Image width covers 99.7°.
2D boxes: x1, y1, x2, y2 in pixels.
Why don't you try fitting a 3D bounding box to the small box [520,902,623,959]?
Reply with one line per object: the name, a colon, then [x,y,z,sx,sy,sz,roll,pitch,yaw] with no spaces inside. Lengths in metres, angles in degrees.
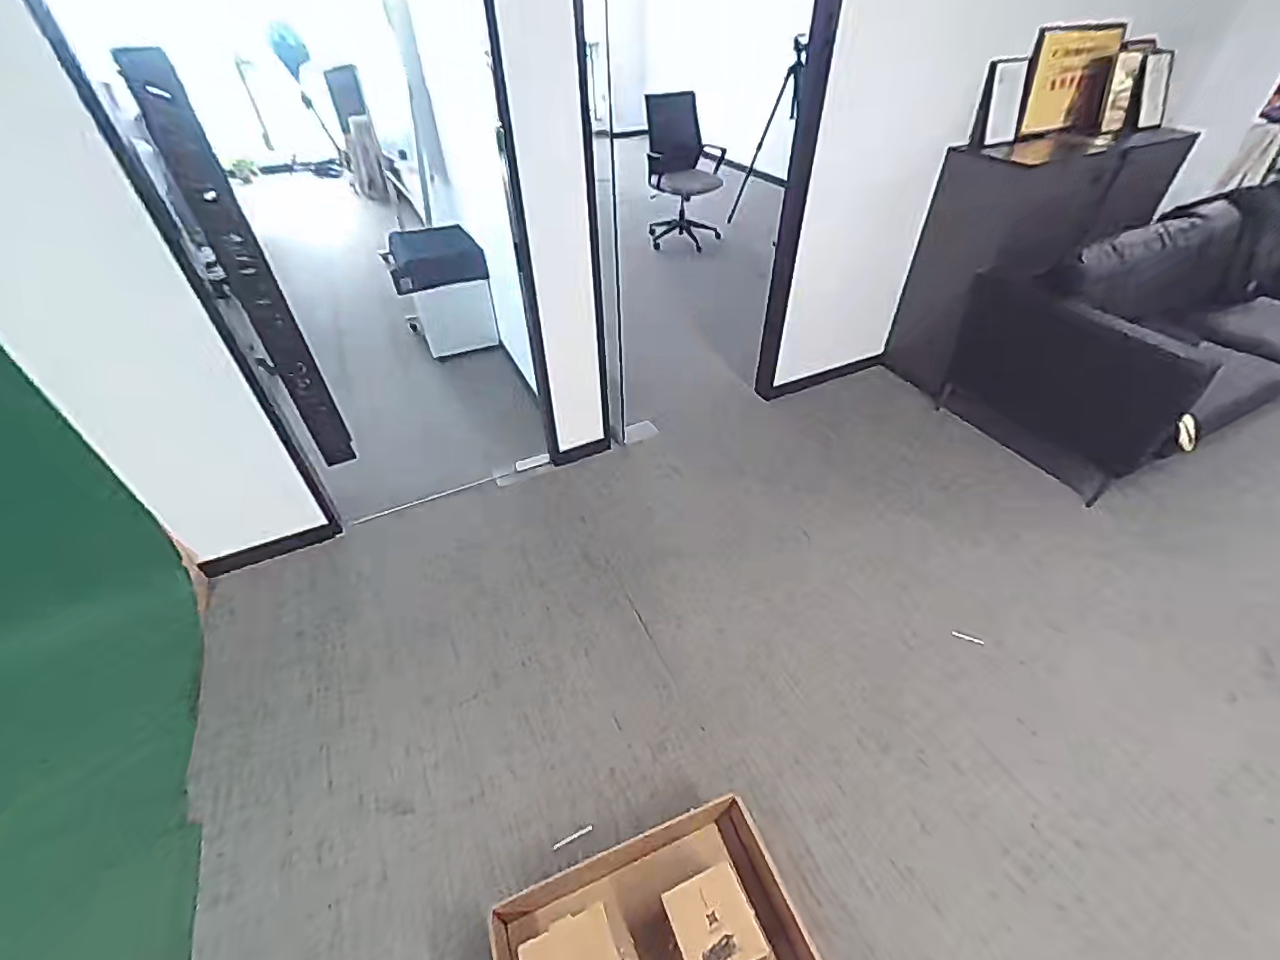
small box: [-0.105,0.920,0.976,0.168,0.176,0.179,-18,43,-17]
